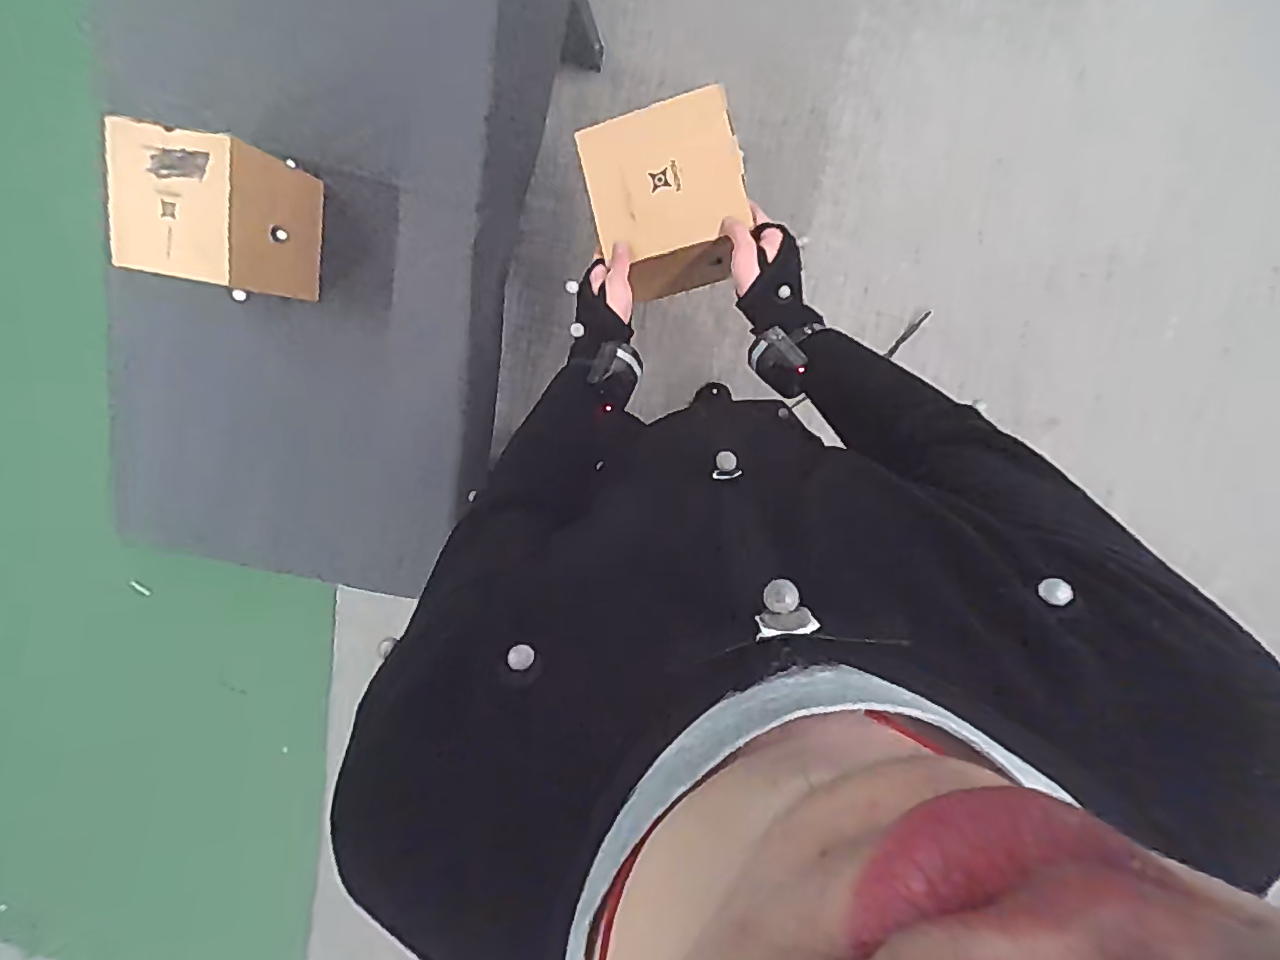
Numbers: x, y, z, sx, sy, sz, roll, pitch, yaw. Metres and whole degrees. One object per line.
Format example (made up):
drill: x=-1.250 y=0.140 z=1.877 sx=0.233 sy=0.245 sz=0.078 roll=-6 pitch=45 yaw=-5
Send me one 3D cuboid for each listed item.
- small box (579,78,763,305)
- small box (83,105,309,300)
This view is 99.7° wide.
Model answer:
small box: x=0.043 y=-0.338 z=0.673 sx=0.179 sy=0.176 sz=0.168 roll=-14 pitch=90 yaw=9
small box: x=-0.571 y=-0.350 z=0.716 sx=0.168 sy=0.176 sz=0.179 roll=11 pitch=102 yaw=3
